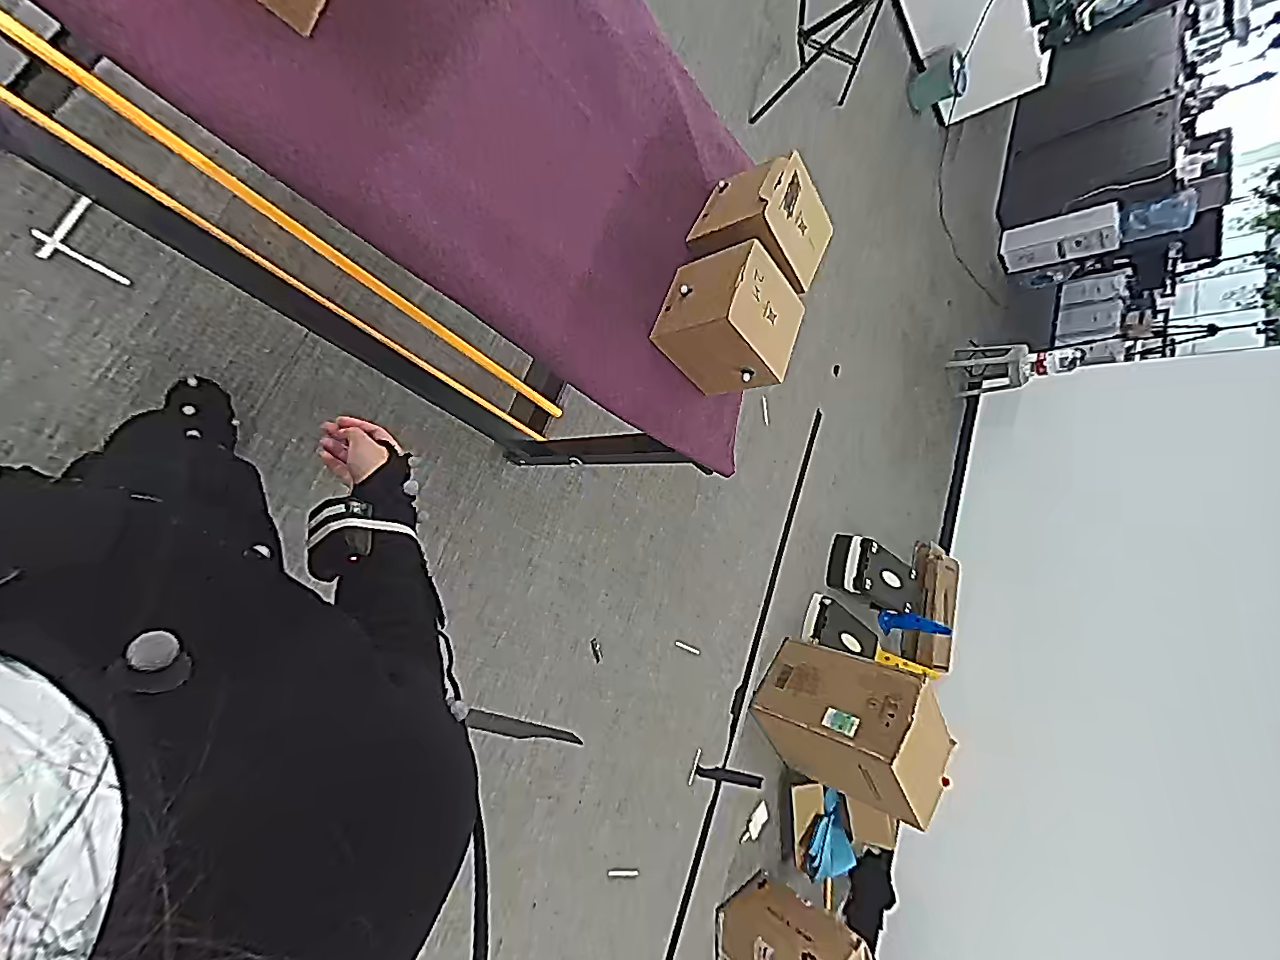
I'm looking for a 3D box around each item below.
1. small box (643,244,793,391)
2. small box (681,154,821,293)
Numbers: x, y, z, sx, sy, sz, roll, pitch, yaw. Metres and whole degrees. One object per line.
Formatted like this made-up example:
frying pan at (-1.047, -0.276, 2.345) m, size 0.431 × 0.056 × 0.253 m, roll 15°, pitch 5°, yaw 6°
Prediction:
small box at (0.138, -0.272, 0.950) m, size 0.179 × 0.176 × 0.168 m, roll 37°, pitch 65°, yaw -37°
small box at (0.205, -0.451, 1.008) m, size 0.179 × 0.176 × 0.168 m, roll 43°, pitch 65°, yaw -37°
